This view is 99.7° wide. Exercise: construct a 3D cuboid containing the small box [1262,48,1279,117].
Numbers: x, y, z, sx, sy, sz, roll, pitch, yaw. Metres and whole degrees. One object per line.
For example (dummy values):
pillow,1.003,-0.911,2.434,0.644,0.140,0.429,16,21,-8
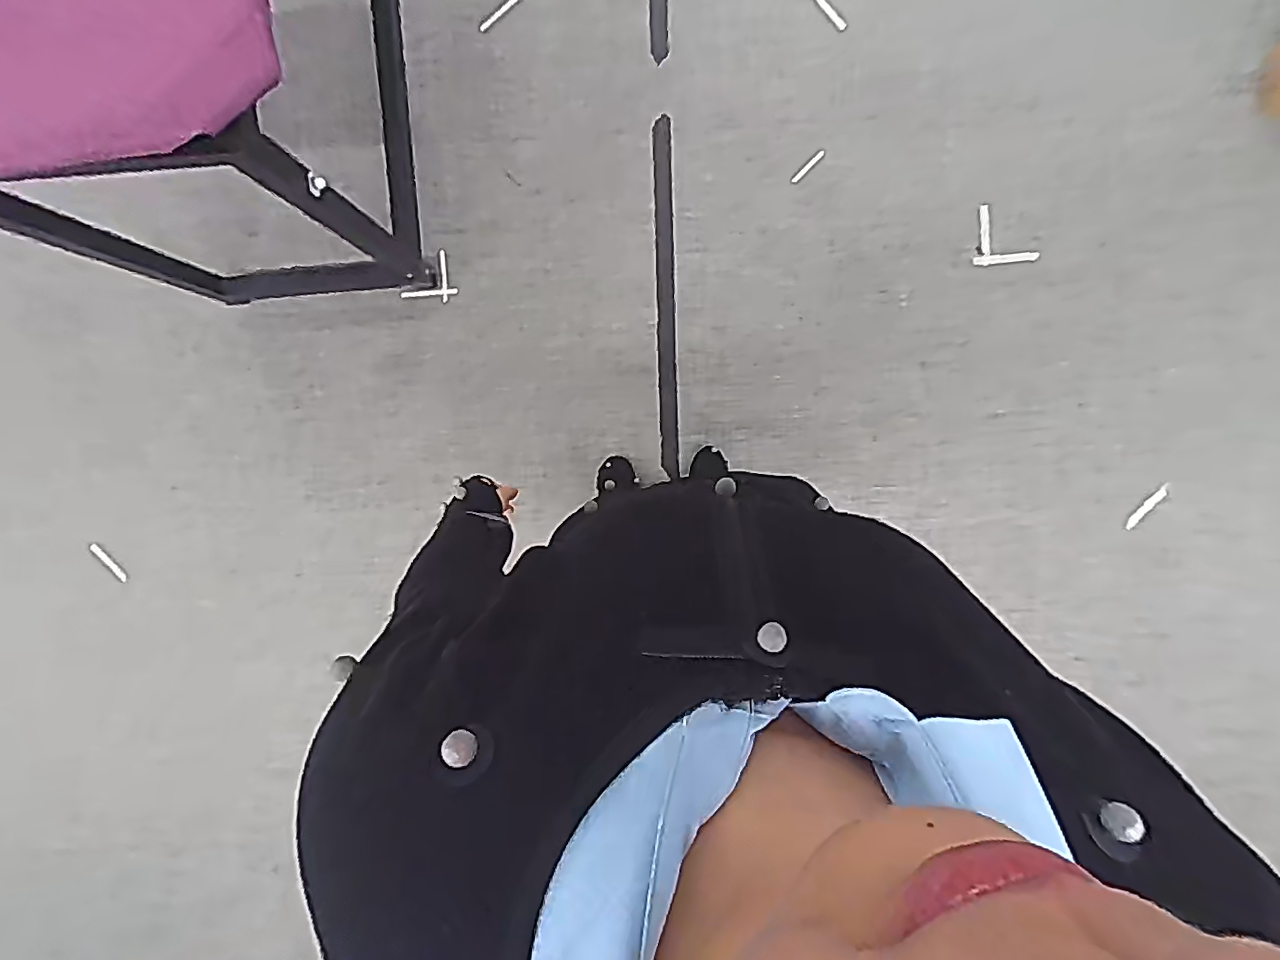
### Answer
small box,1.710,-1.025,1.330,0.179,0.176,0.168,0,94,0
